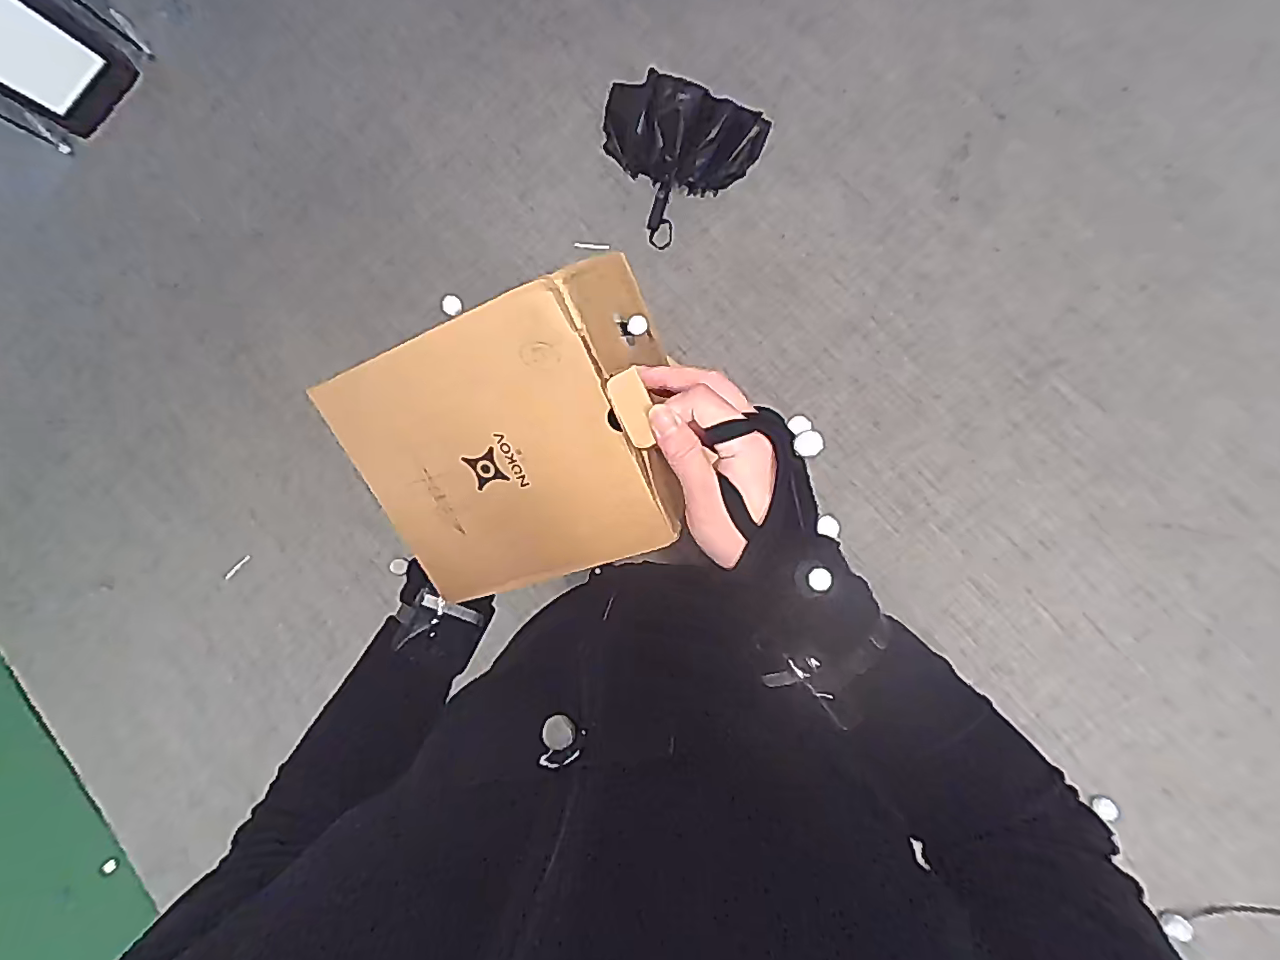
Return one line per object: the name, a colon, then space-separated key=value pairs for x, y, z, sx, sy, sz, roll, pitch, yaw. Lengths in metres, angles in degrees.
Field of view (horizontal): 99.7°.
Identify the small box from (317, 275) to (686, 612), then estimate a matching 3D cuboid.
small box: x=-0.073 y=-0.036 z=0.396 sx=0.179 sy=0.176 sz=0.168 roll=-19 pitch=108 yaw=19
